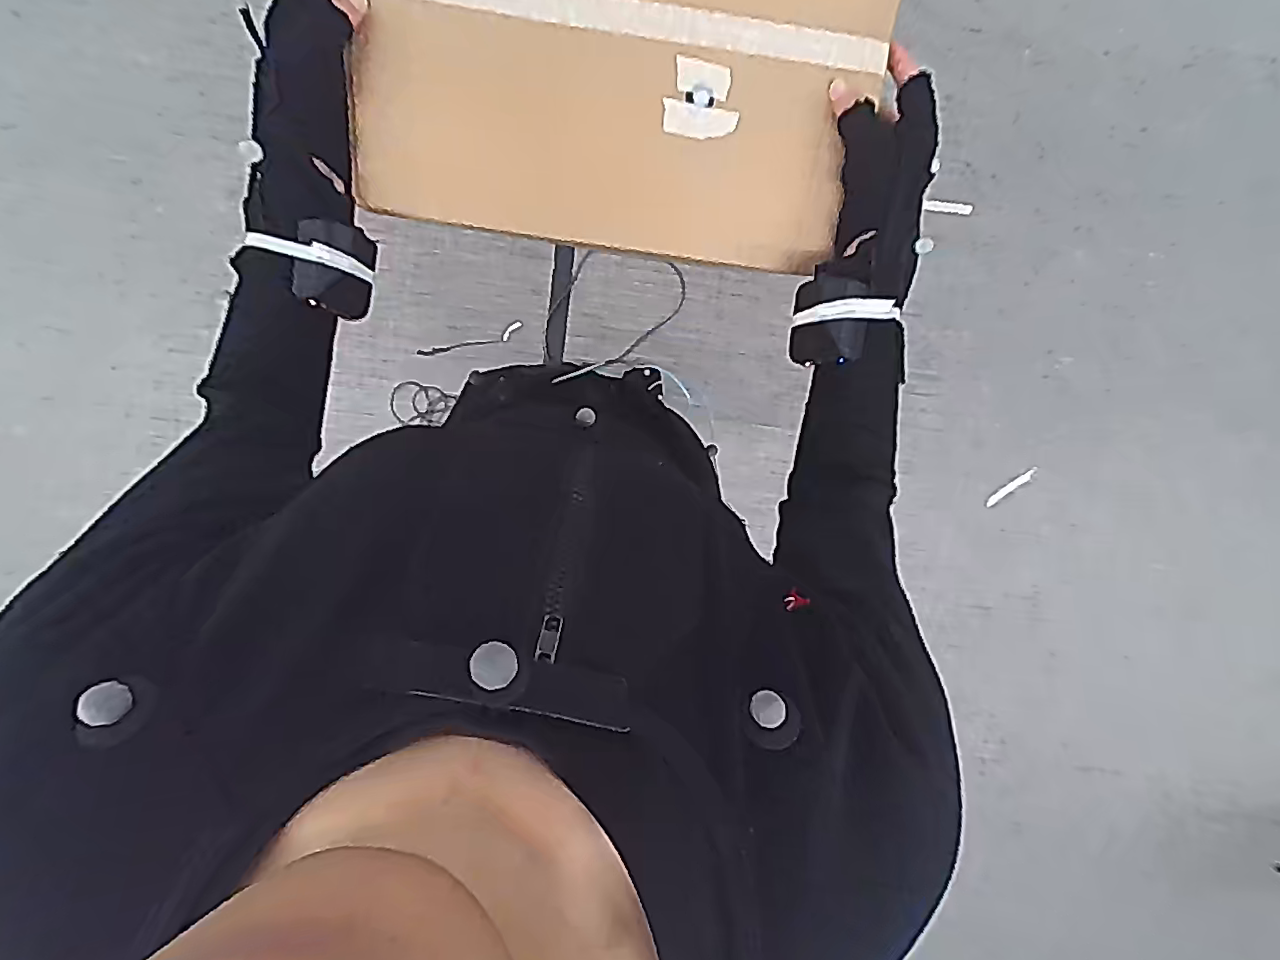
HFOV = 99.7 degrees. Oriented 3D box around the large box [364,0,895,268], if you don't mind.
[{"bbox_3d":[-0.013,-0.405,0.550,0.408,0.320,0.320,7,112,-4],"label":"large box"}]
